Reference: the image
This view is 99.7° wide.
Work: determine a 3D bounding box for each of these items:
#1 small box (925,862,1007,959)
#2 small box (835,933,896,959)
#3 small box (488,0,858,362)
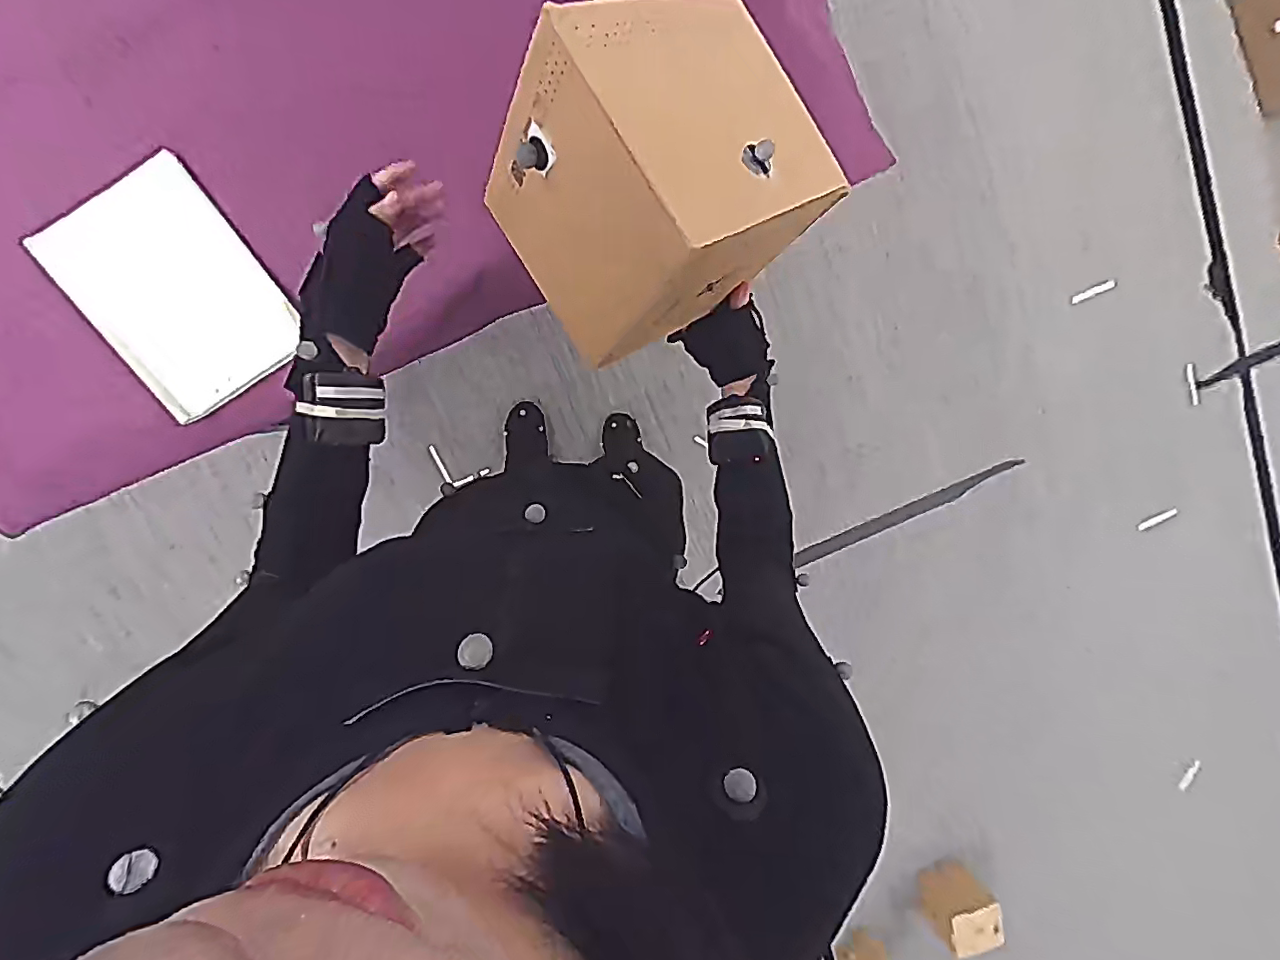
[{"bbox_3d":[1.081,1.434,1.811,0.179,0.176,0.168,-11,99,-7],"label":"small box"},{"bbox_3d":[0.790,1.679,1.800,0.168,0.176,0.179,-43,101,-1],"label":"small box"},{"bbox_3d":[0.017,-0.223,0.406,0.179,0.168,0.176,-32,91,-29],"label":"small box"}]
